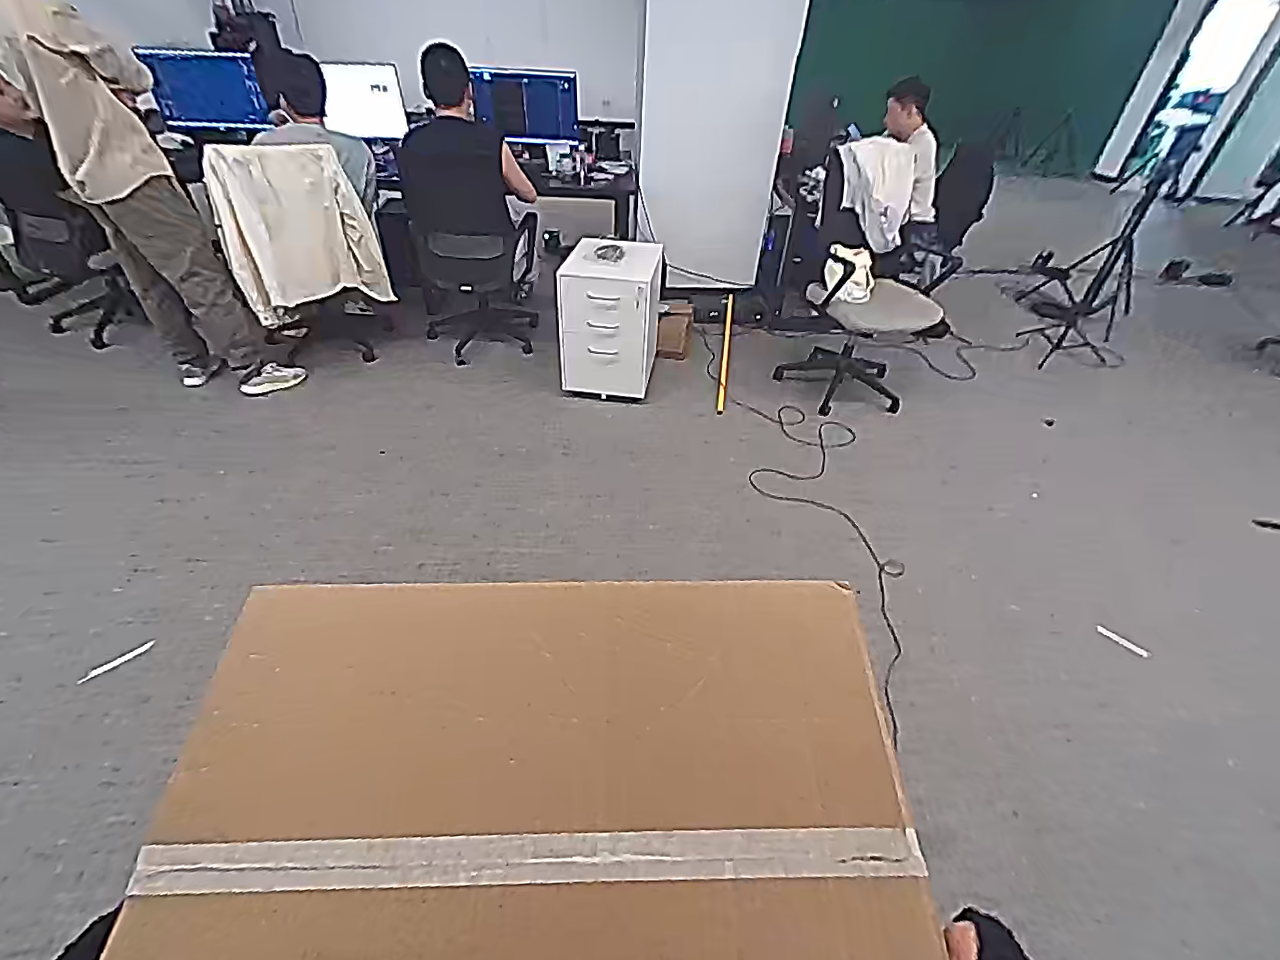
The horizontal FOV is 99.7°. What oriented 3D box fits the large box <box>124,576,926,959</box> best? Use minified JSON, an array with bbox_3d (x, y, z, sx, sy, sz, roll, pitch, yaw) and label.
[{"bbox_3d":[-0.058,0.282,0.418,0.408,0.320,0.320,0,56,-1],"label":"large box"}]
